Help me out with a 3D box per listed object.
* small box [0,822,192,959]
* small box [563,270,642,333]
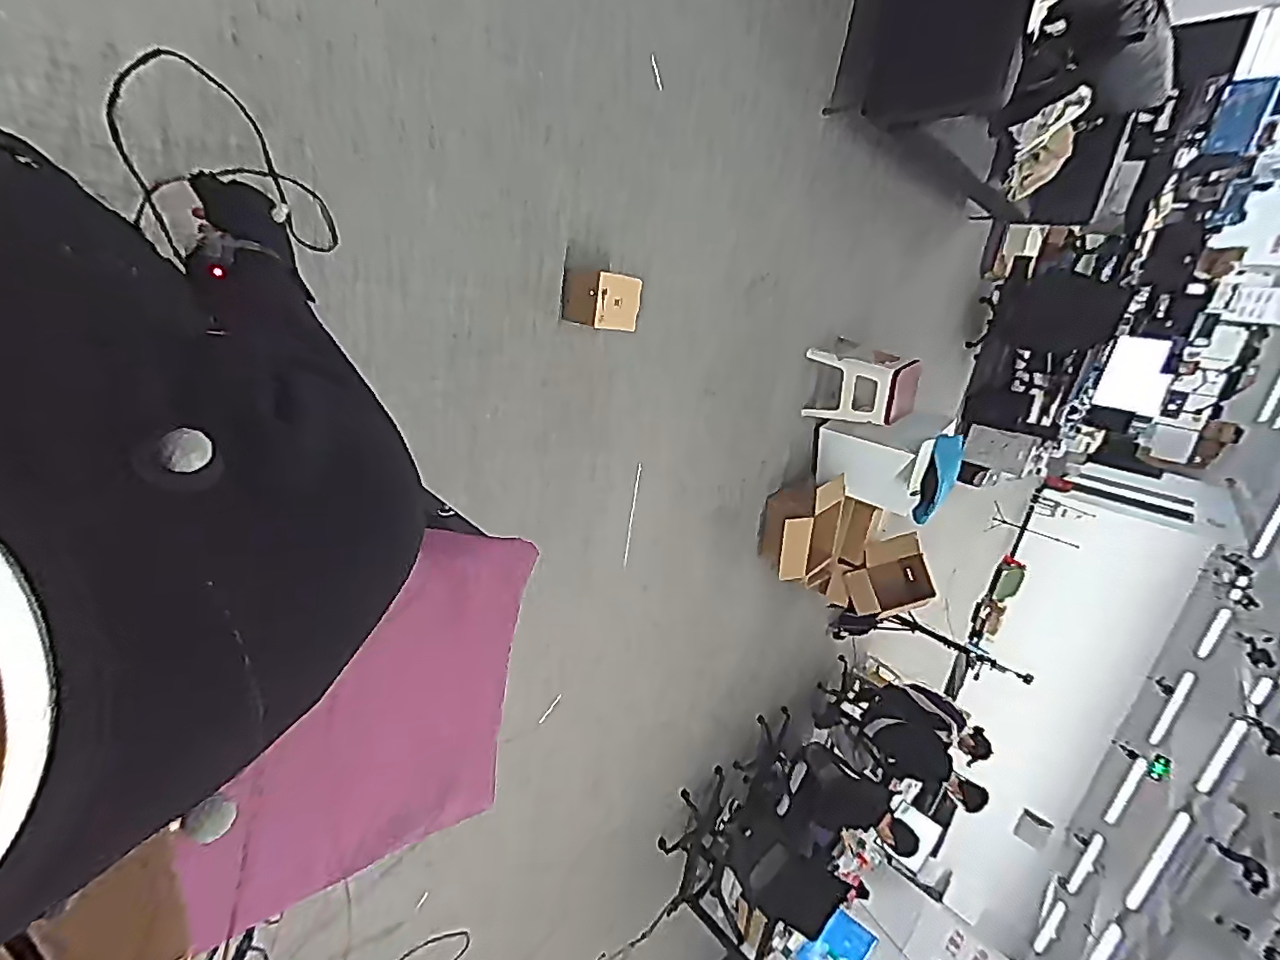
[{"bbox_3d":[-0.510,0.460,0.477,0.168,0.176,0.179,-5,112,-45],"label":"small box"},{"bbox_3d":[-0.123,-0.575,1.736,0.179,0.176,0.168,-9,115,-44],"label":"small box"}]
